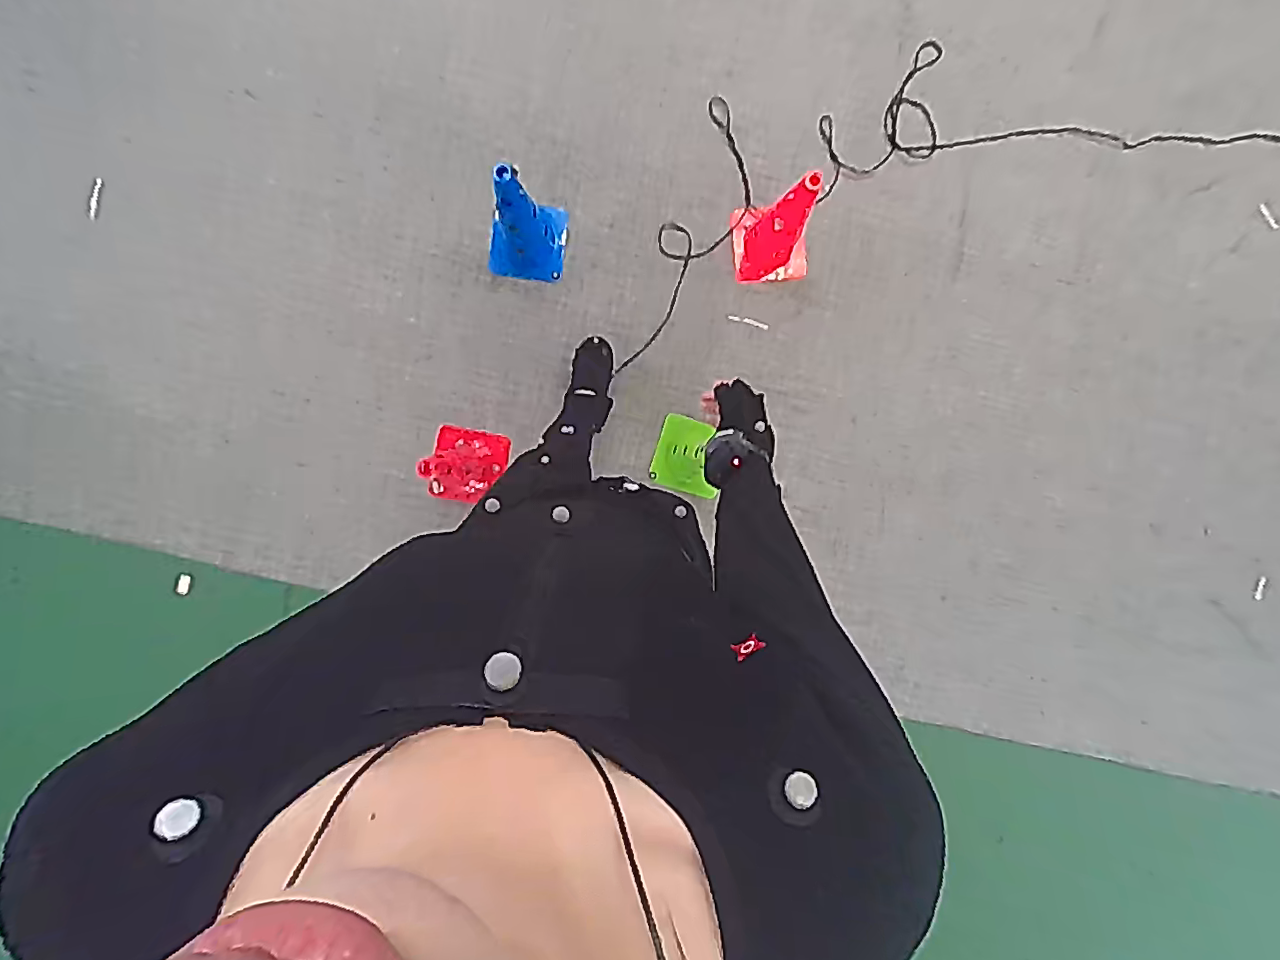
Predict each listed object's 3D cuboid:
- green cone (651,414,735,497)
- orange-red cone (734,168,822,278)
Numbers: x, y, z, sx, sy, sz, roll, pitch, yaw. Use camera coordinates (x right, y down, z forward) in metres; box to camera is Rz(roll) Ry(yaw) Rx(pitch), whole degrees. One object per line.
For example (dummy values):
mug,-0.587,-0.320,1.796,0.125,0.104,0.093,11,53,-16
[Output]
green cone,0.157,-0.062,1.329,0.200,0.368,0.202,16,91,-4
orange-red cone,0.362,-0.649,1.315,0.198,0.360,0.199,-5,94,-1
